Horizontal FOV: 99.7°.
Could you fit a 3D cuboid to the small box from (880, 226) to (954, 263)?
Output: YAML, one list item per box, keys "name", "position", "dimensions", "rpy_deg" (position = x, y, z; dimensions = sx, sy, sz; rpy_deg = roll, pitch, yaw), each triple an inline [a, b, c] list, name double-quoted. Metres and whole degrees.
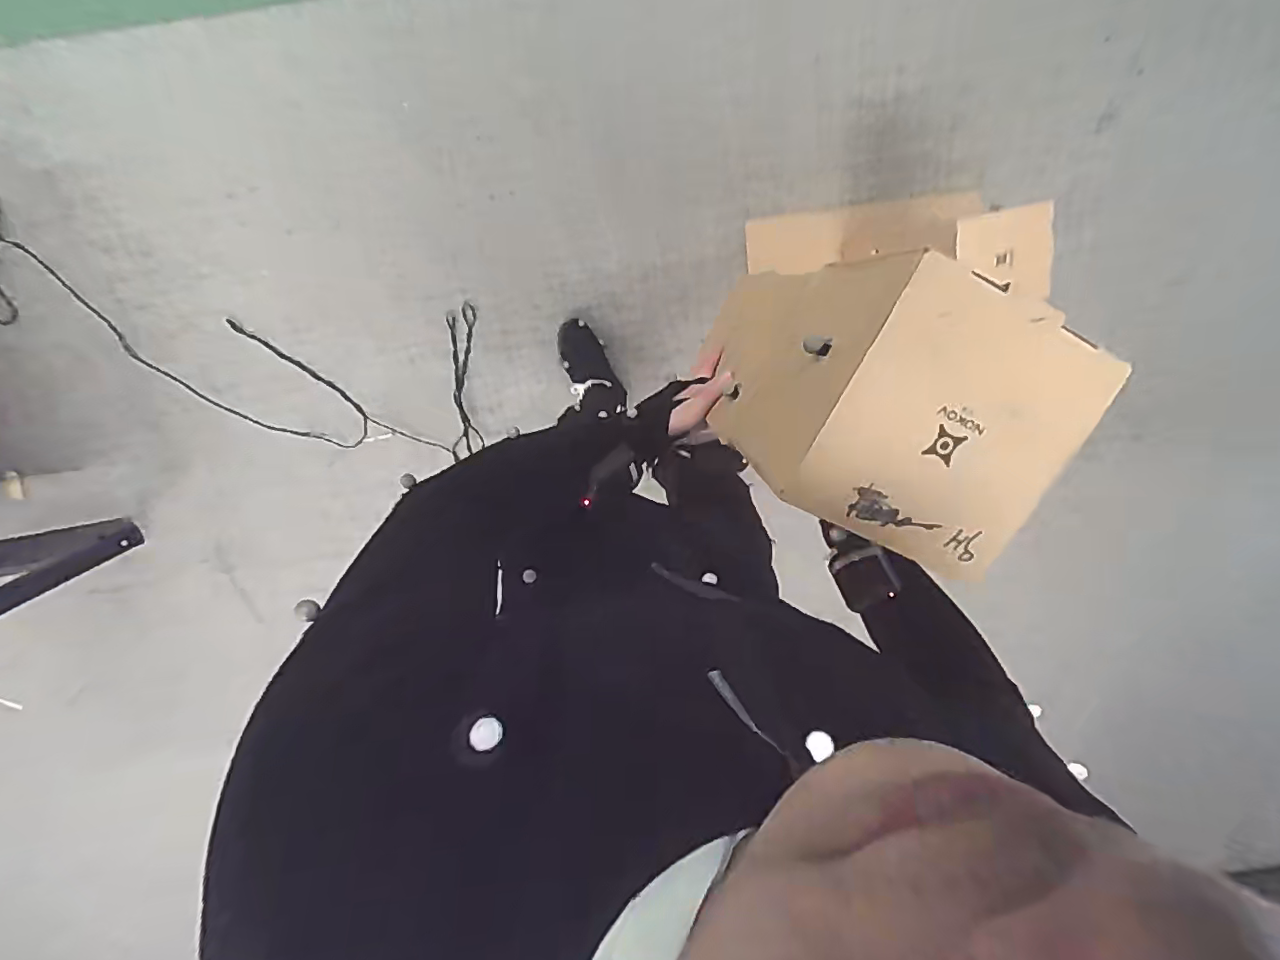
- name: "small box"
  position: [0.647, -0.459, 1.191]
  dimensions: [0.179, 0.176, 0.168]
  rpy_deg: [-12, 107, 1]

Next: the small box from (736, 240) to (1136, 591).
- name: "small box"
  position: [0.192, -0.053, 0.413]
  dimensions: [0.168, 0.176, 0.179]
  rpy_deg: [24, 105, -9]

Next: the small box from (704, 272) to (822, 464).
- name: "small box"
  position: [0.181, -0.096, 0.572]
  dimensions: [0.168, 0.176, 0.179]
  rpy_deg: [25, 105, -10]

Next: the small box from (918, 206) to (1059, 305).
- name: "small box"
  position: [0.654, -0.406, 1.038]
  dimensions: [0.179, 0.176, 0.168]
  rpy_deg: [-11, 107, 1]
